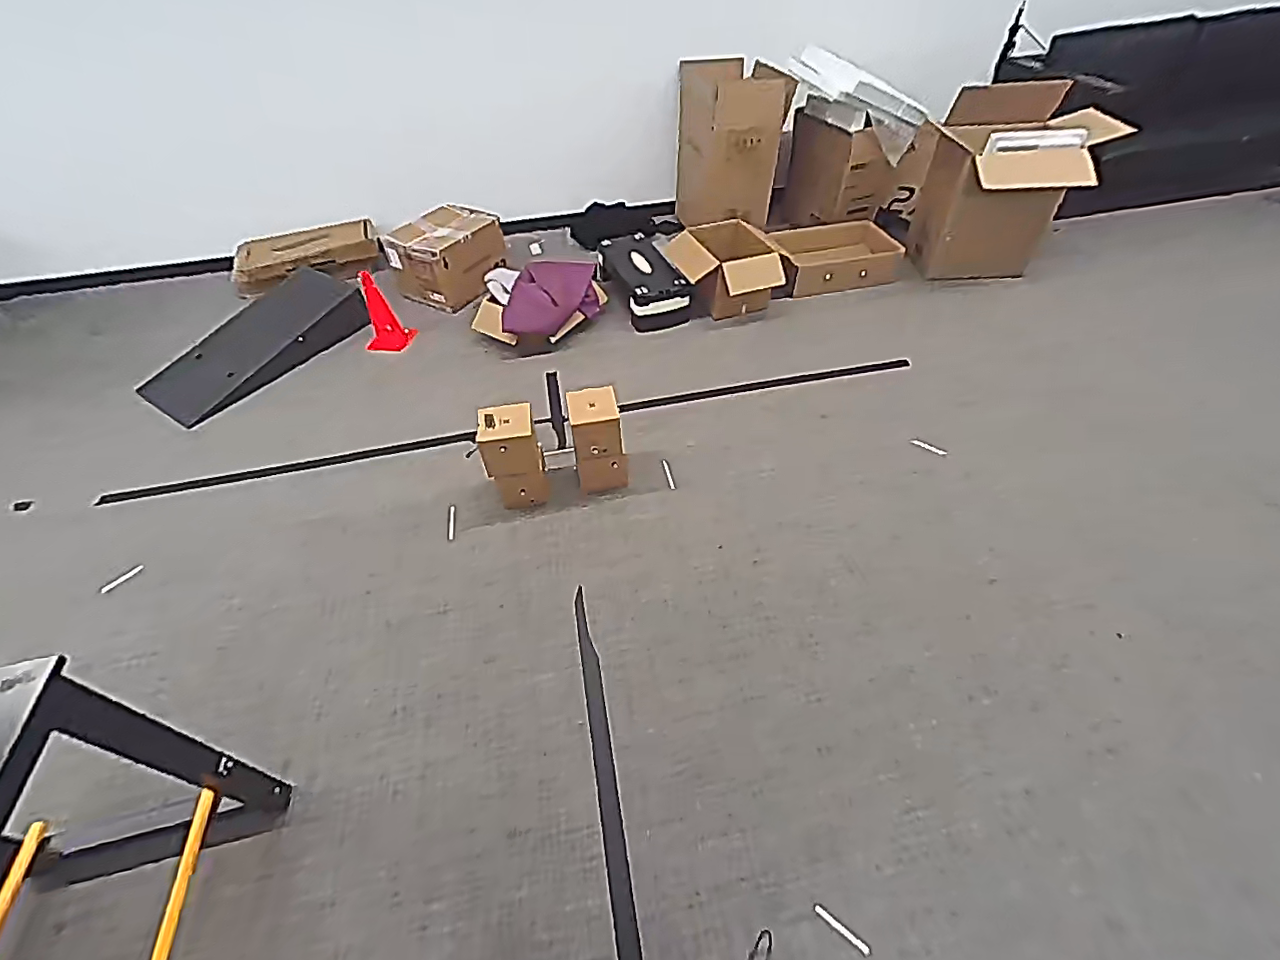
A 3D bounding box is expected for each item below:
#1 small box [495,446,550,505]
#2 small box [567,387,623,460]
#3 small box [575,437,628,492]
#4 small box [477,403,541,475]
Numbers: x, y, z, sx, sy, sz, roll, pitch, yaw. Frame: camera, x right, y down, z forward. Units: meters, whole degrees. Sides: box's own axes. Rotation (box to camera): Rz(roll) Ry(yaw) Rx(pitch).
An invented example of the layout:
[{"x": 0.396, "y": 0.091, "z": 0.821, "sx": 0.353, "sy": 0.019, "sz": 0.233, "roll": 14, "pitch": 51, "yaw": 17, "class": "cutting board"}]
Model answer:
[{"x": -0.424, "y": -0.026, "z": 1.956, "sx": 0.168, "sy": 0.176, "sz": 0.179, "roll": -9, "pitch": 49, "yaw": -5, "class": "small box"}, {"x": -0.156, "y": -0.196, "z": 1.879, "sx": 0.168, "sy": 0.176, "sz": 0.179, "roll": -10, "pitch": 50, "yaw": -6, "class": "small box"}, {"x": -0.144, "y": -0.079, "z": 1.992, "sx": 0.179, "sy": 0.176, "sz": 0.168, "roll": -11, "pitch": 48, "yaw": -8, "class": "small box"}, {"x": -0.438, "y": -0.134, "z": 1.829, "sx": 0.179, "sy": 0.176, "sz": 0.168, "roll": -8, "pitch": 47, "yaw": -4, "class": "small box"}]
